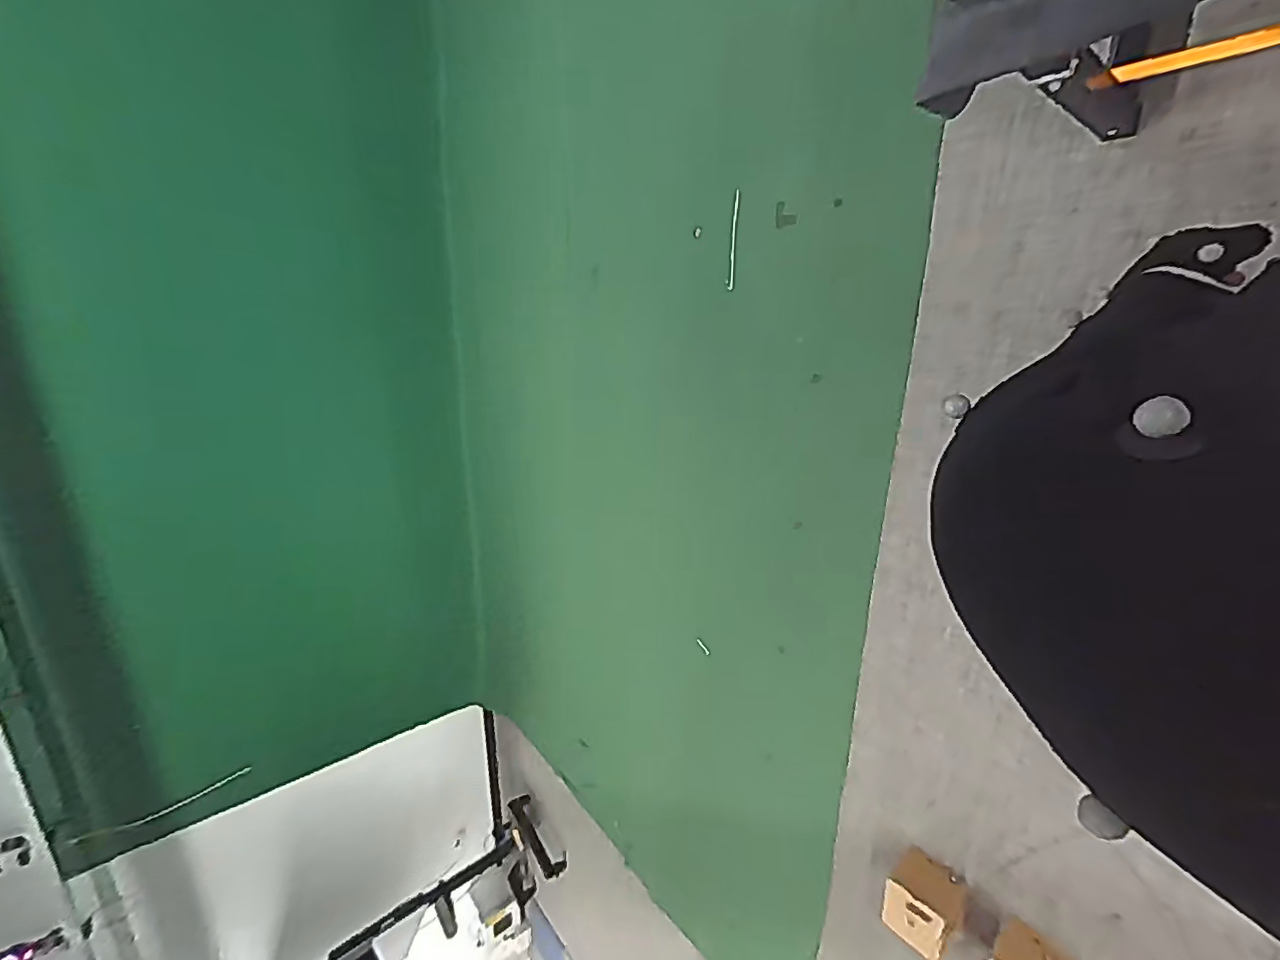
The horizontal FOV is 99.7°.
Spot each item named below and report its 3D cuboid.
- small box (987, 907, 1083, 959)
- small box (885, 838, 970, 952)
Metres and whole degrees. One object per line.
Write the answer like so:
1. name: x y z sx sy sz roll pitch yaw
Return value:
1. small box: 1.038 1.303 1.430 0.168 0.176 0.179 23 117 48
2. small box: 0.869 1.239 1.630 0.168 0.176 0.179 18 114 49
